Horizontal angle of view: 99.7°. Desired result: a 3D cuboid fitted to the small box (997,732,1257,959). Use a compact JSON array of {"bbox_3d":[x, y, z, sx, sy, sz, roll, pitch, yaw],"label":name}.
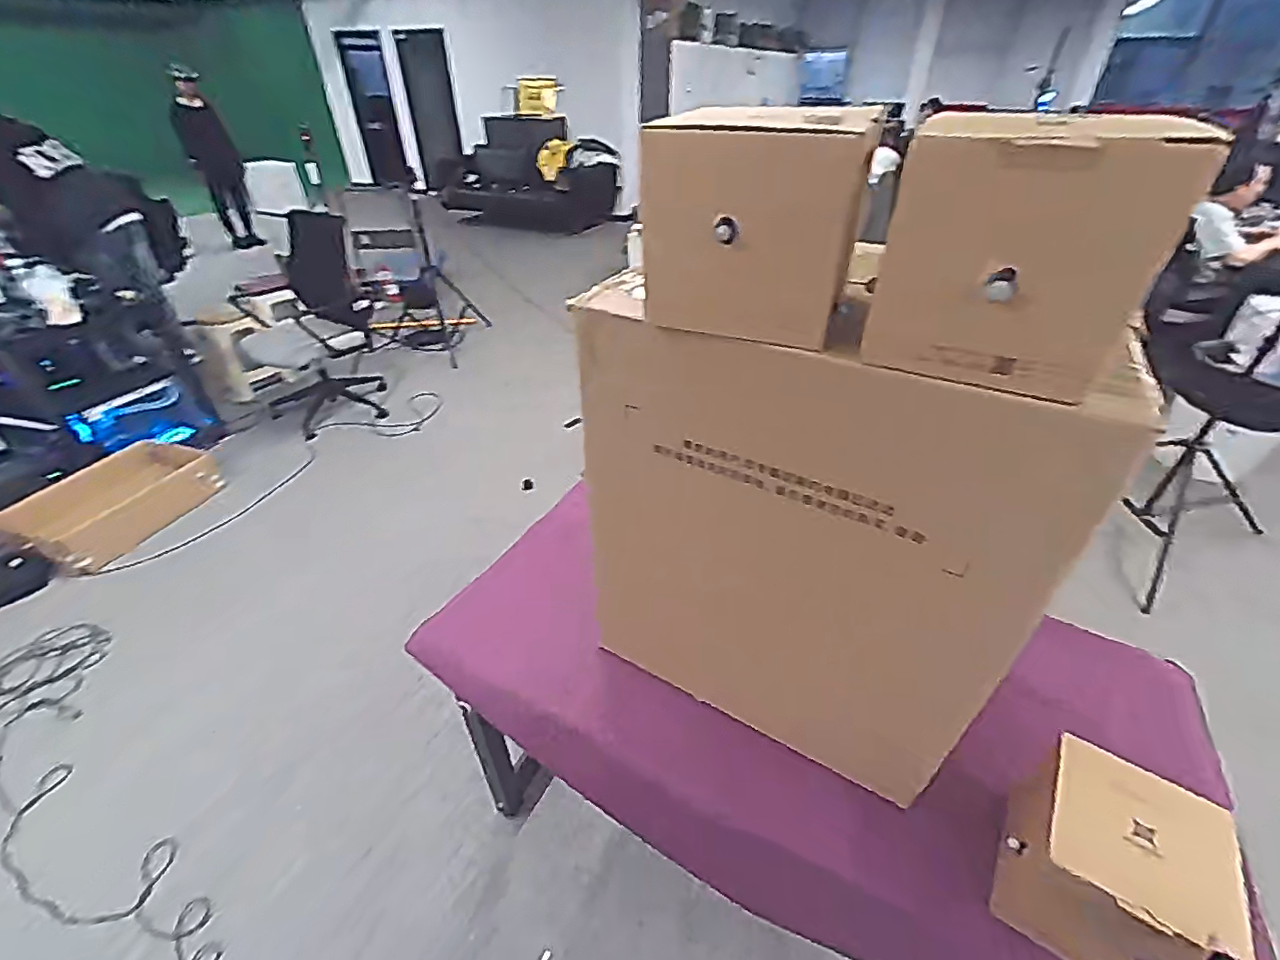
[{"bbox_3d":[0.543,0.447,0.627,0.168,0.176,0.179,24,42,28],"label":"small box"}]
